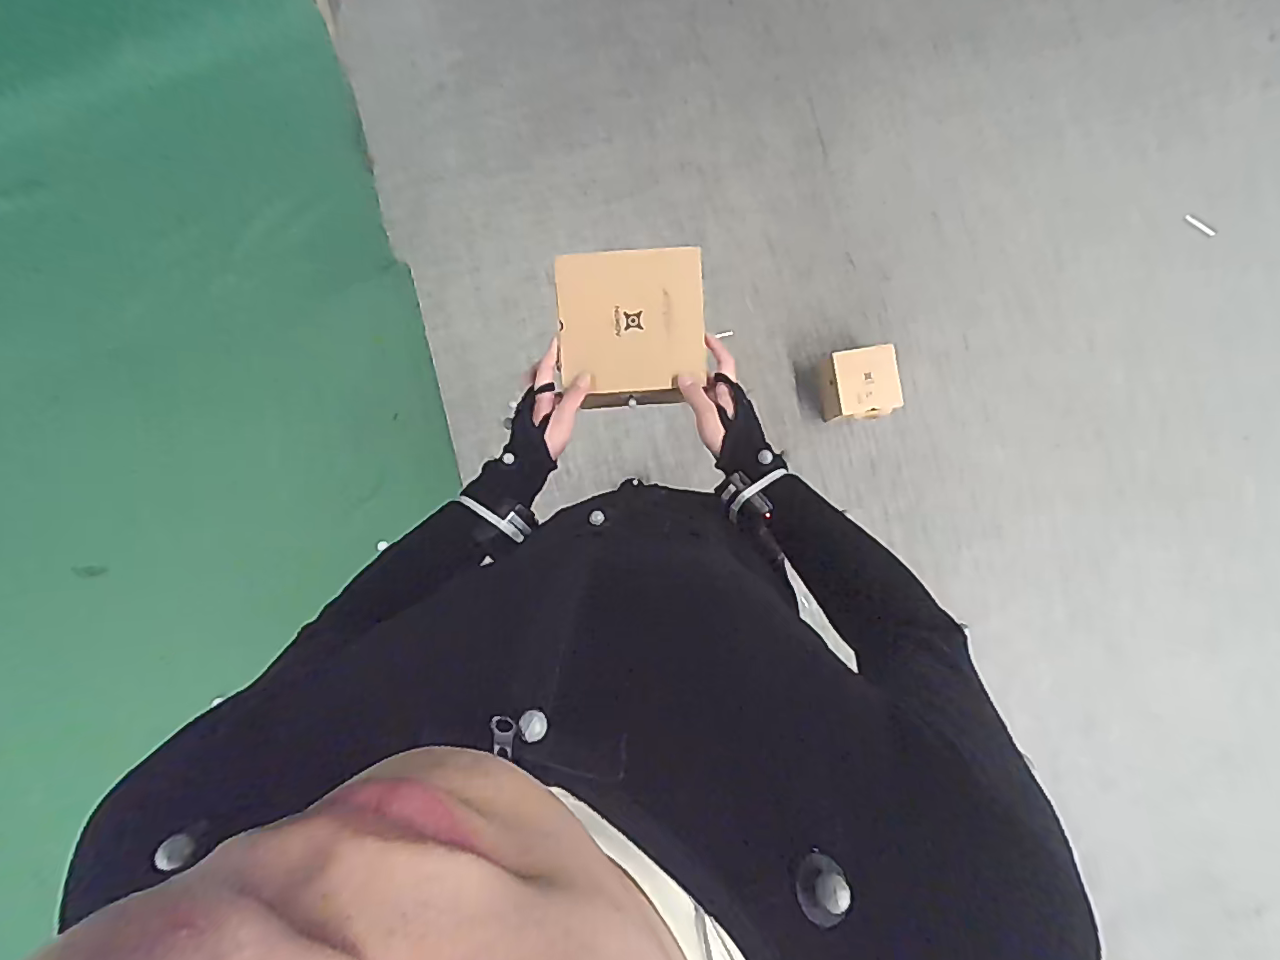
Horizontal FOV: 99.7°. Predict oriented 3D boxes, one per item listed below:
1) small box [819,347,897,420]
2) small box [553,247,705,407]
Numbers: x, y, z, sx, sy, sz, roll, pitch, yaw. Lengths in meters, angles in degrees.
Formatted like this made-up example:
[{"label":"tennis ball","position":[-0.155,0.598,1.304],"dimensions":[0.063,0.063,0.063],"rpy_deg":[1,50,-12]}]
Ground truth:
[{"label":"small box","position":[0.609,-0.268,1.527],"dimensions":[0.168,0.176,0.179],"rpy_deg":[-2,91,6]},{"label":"small box","position":[-0.009,-0.188,0.712],"dimensions":[0.179,0.176,0.168],"rpy_deg":[-3,93,2]}]
